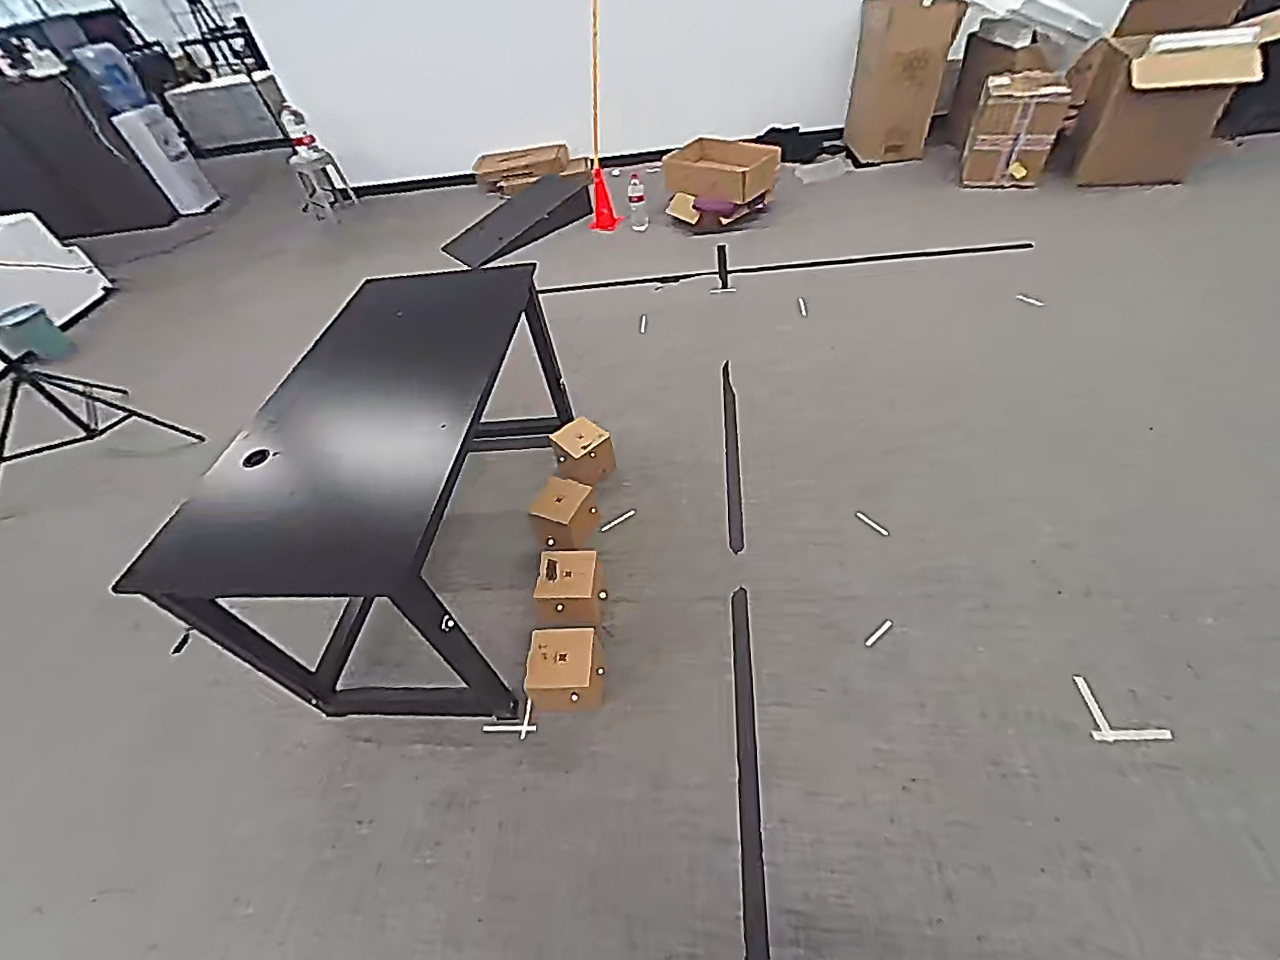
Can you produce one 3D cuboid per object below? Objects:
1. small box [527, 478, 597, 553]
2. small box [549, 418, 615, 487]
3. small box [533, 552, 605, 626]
[{"bbox_3d":[-0.262,0.126,1.883,0.168,0.176,0.179,14,53,22],"label":"small box"},{"bbox_3d":[-0.220,-0.102,2.079,0.168,0.176,0.179,-38,53,-23],"label":"small box"},{"bbox_3d":[-0.215,0.341,1.677,0.179,0.176,0.168,-2,48,6],"label":"small box"}]
